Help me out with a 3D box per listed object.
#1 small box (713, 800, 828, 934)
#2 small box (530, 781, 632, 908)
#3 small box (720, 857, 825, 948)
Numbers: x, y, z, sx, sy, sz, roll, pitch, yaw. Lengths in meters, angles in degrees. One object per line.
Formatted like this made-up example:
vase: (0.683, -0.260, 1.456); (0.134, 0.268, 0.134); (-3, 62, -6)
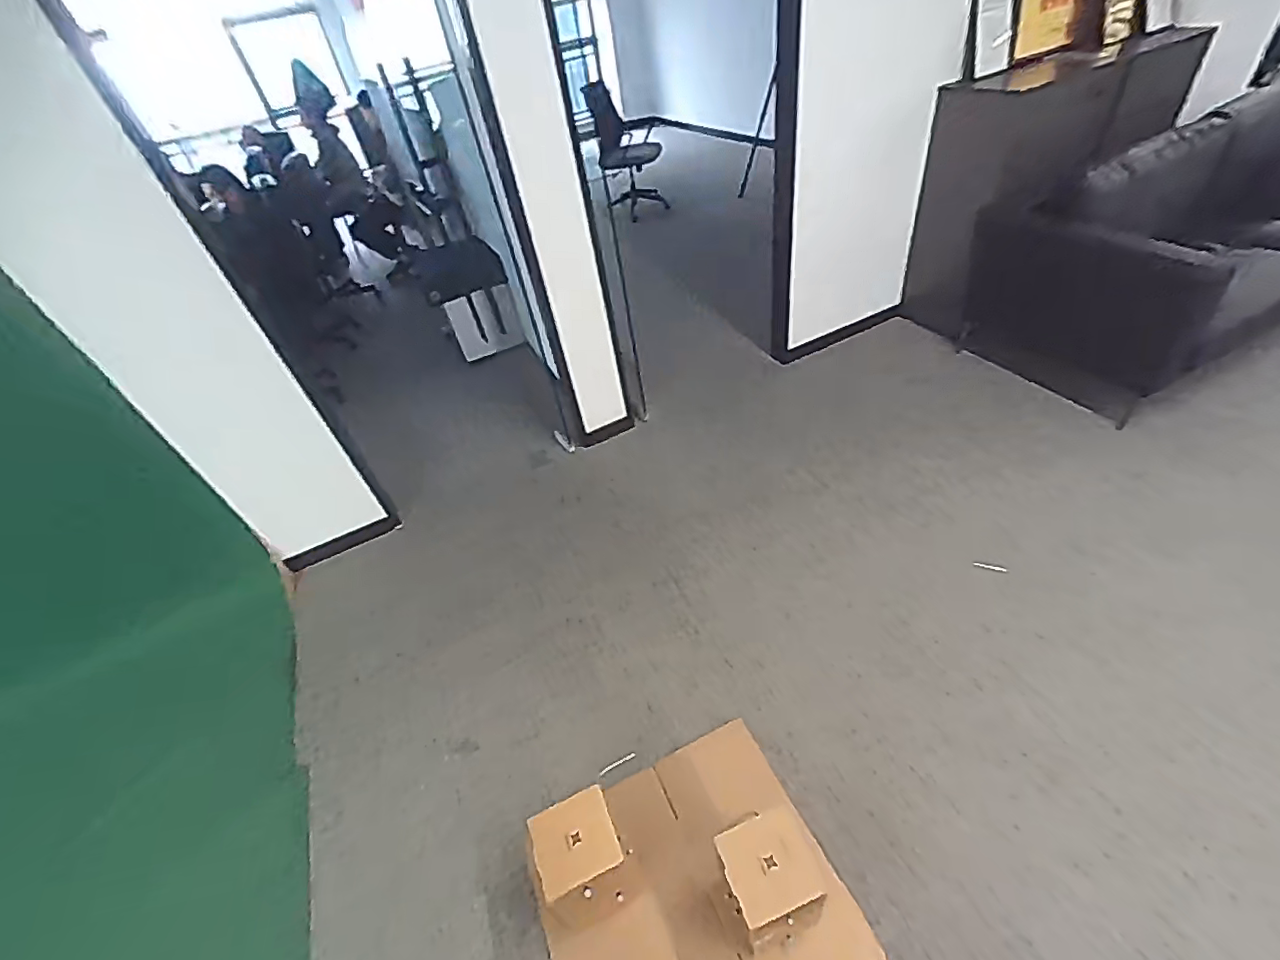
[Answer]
small box: (0.272, 0.817, 1.138); (0.179, 0.176, 0.168); (-20, 44, -8)
small box: (-0.126, 0.822, 1.218); (0.179, 0.176, 0.168); (-23, 45, -11)
small box: (0.298, 0.936, 1.247); (0.179, 0.176, 0.168); (-21, 43, -10)
